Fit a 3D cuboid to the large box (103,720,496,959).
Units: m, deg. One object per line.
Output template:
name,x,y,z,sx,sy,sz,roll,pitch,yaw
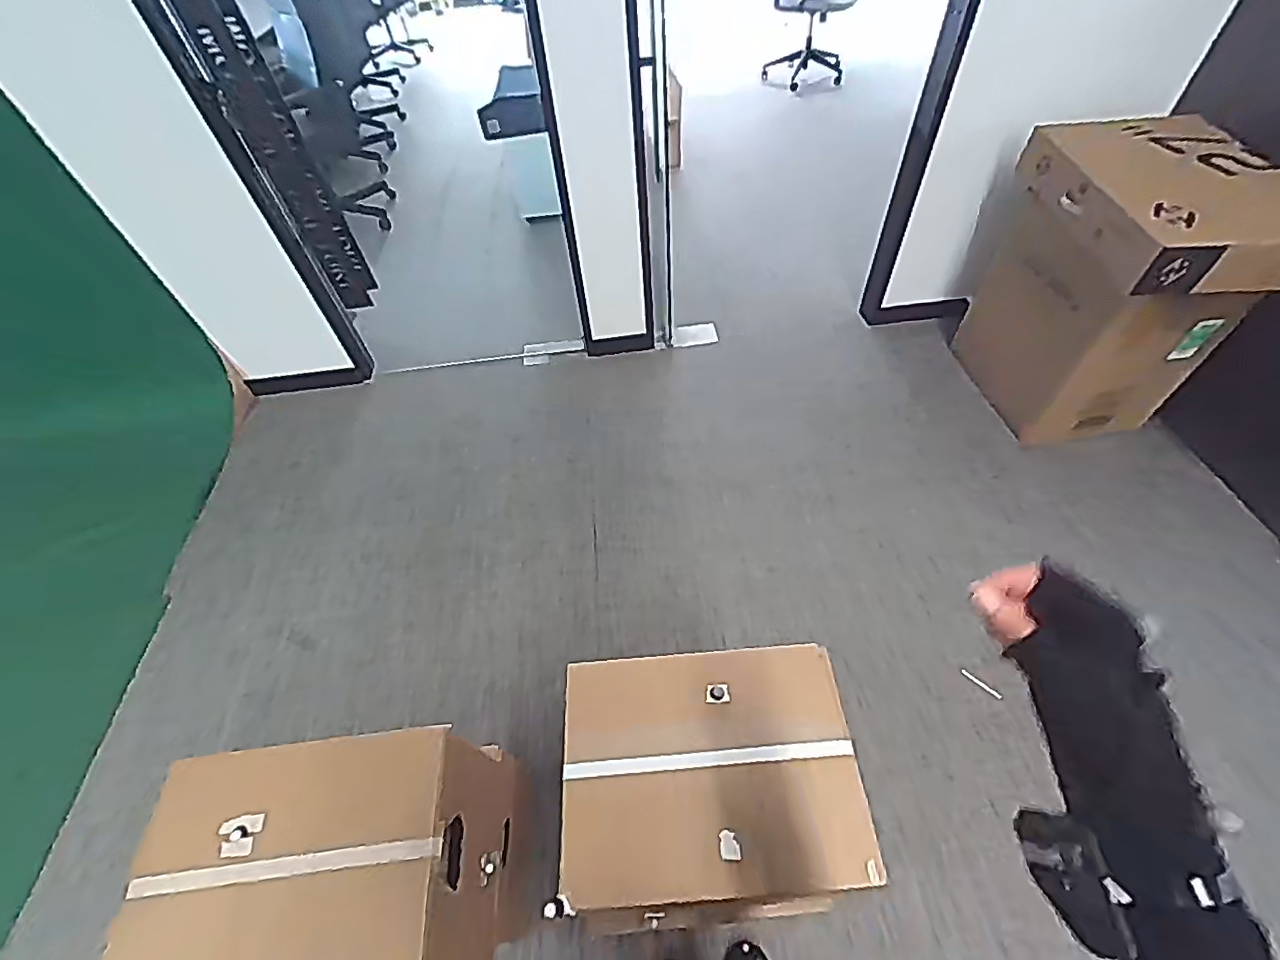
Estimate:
large box,-0.462,0.592,0.835,0.408,0.320,0.320,-7,54,0
